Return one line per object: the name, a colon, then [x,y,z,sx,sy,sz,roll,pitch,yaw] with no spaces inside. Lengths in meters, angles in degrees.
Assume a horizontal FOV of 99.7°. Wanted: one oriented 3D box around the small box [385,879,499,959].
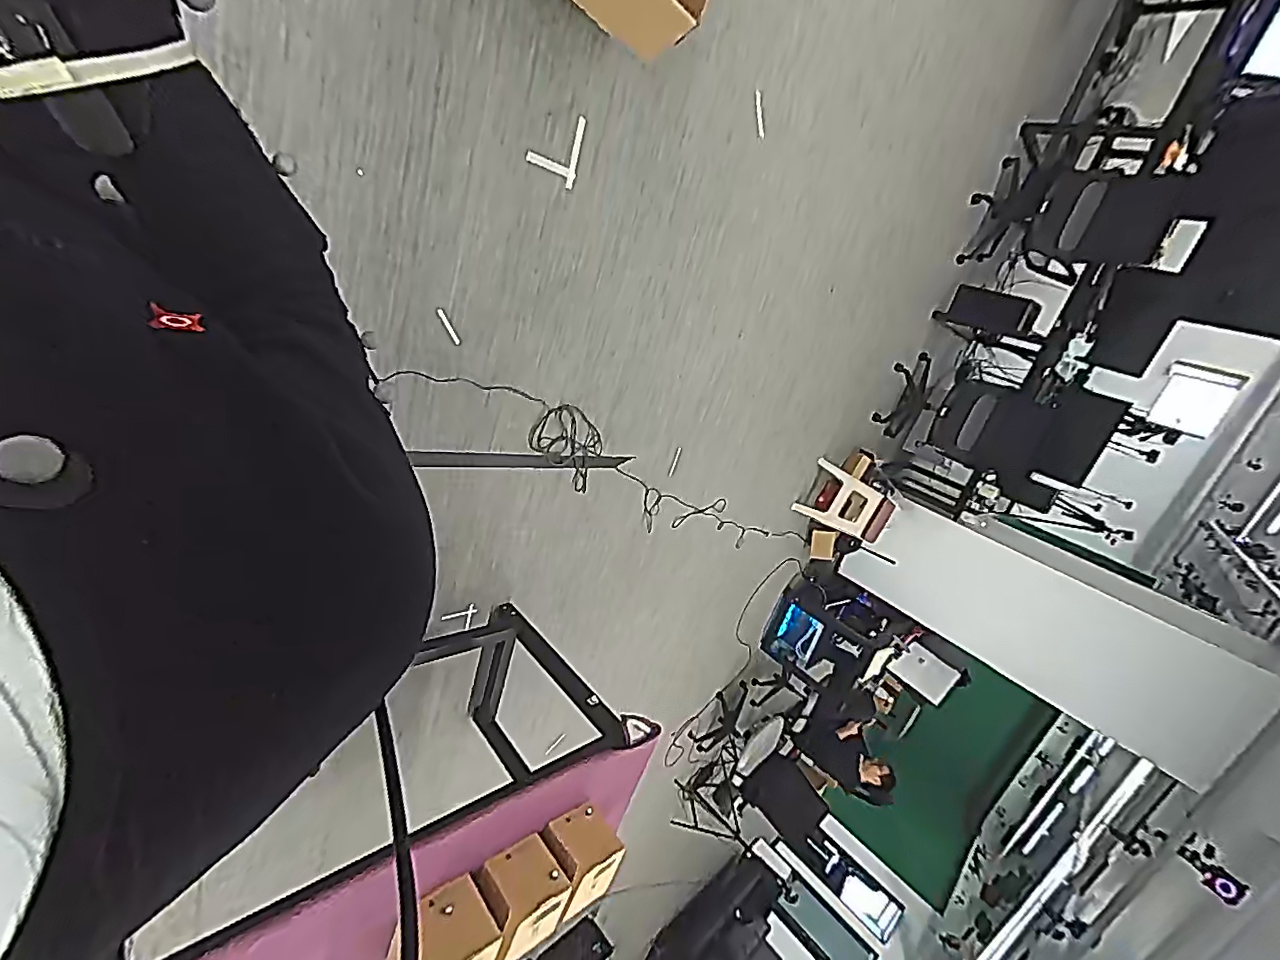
small box: [-0.449,1.059,1.213,0.168,0.176,0.179,1,115,-50]
